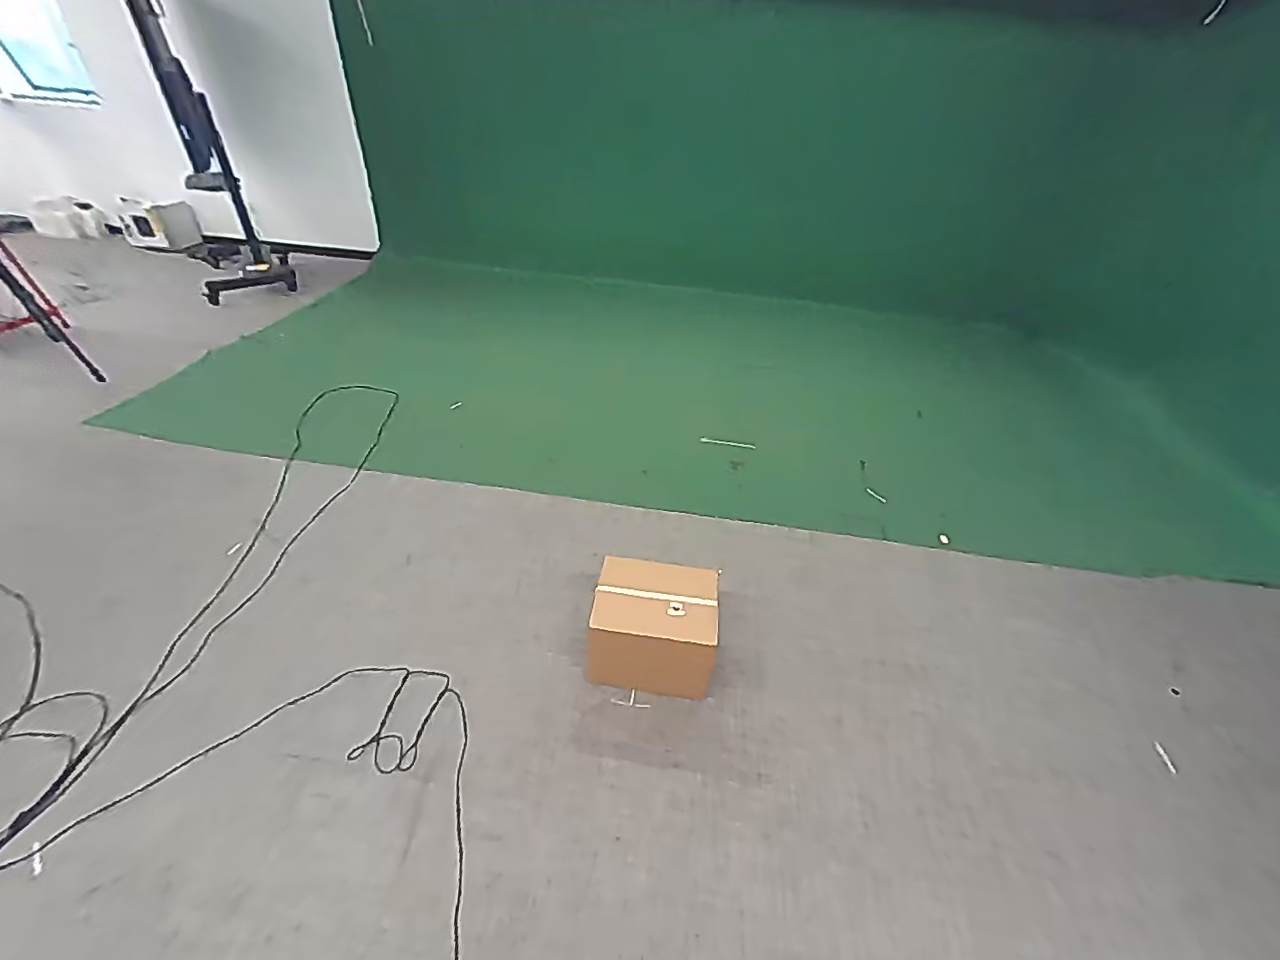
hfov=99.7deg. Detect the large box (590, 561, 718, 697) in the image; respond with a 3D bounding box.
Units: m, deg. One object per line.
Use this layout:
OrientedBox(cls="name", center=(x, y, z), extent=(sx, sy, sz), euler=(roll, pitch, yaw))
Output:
OrientedBox(cls="large box", center=(0.045, 0.515, 1.878), extent=(0.408, 0.320, 0.320), euler=(7, 37, 3))
